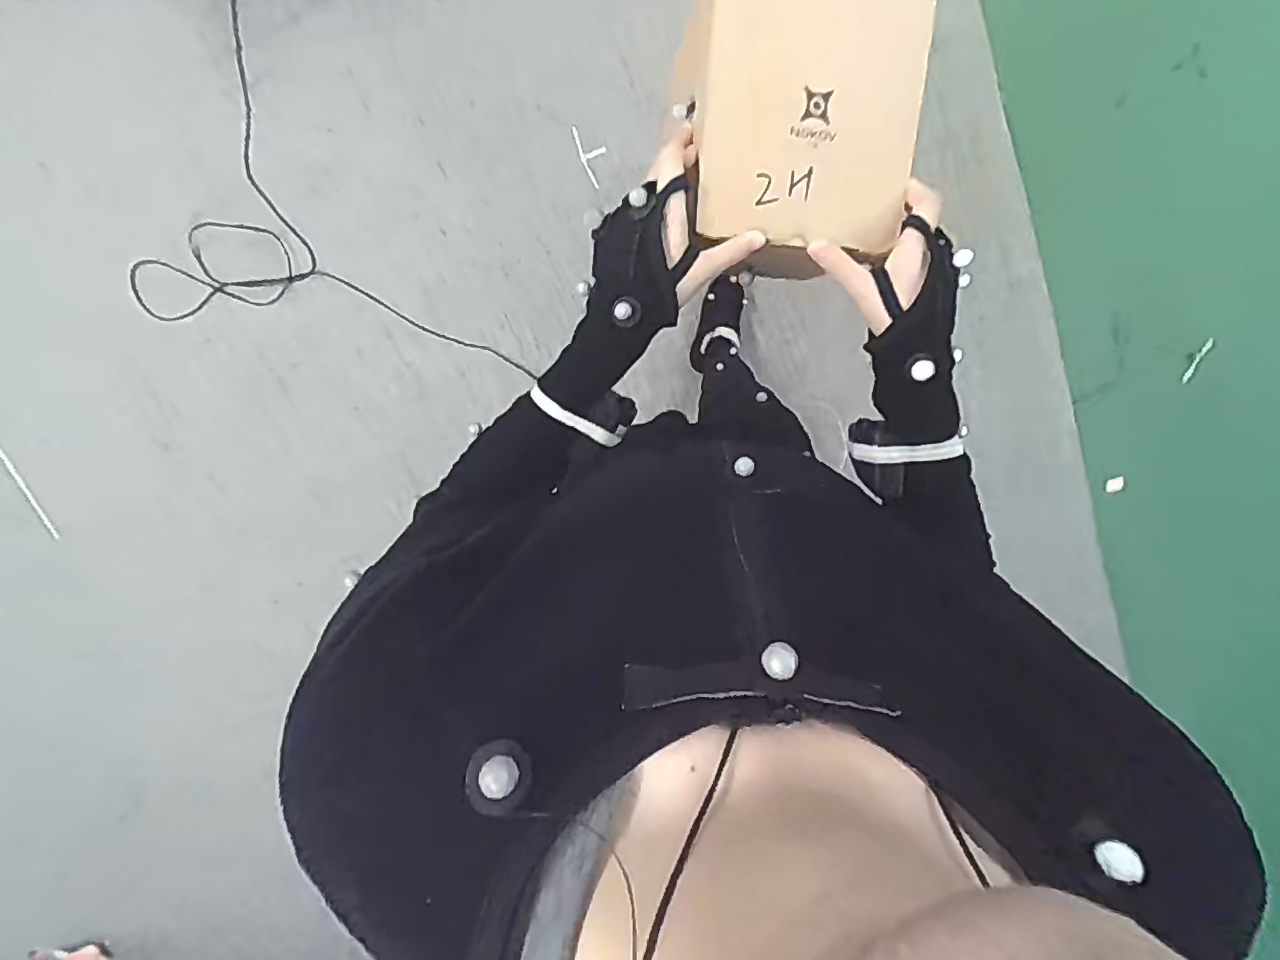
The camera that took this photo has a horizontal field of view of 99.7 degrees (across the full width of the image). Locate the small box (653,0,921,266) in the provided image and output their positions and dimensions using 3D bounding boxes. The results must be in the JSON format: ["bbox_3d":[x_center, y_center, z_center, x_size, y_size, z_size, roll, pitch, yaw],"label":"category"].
[{"bbox_3d":[0.107,-0.298,0.470,0.168,0.176,0.179,1,103,-8],"label":"small box"}]
